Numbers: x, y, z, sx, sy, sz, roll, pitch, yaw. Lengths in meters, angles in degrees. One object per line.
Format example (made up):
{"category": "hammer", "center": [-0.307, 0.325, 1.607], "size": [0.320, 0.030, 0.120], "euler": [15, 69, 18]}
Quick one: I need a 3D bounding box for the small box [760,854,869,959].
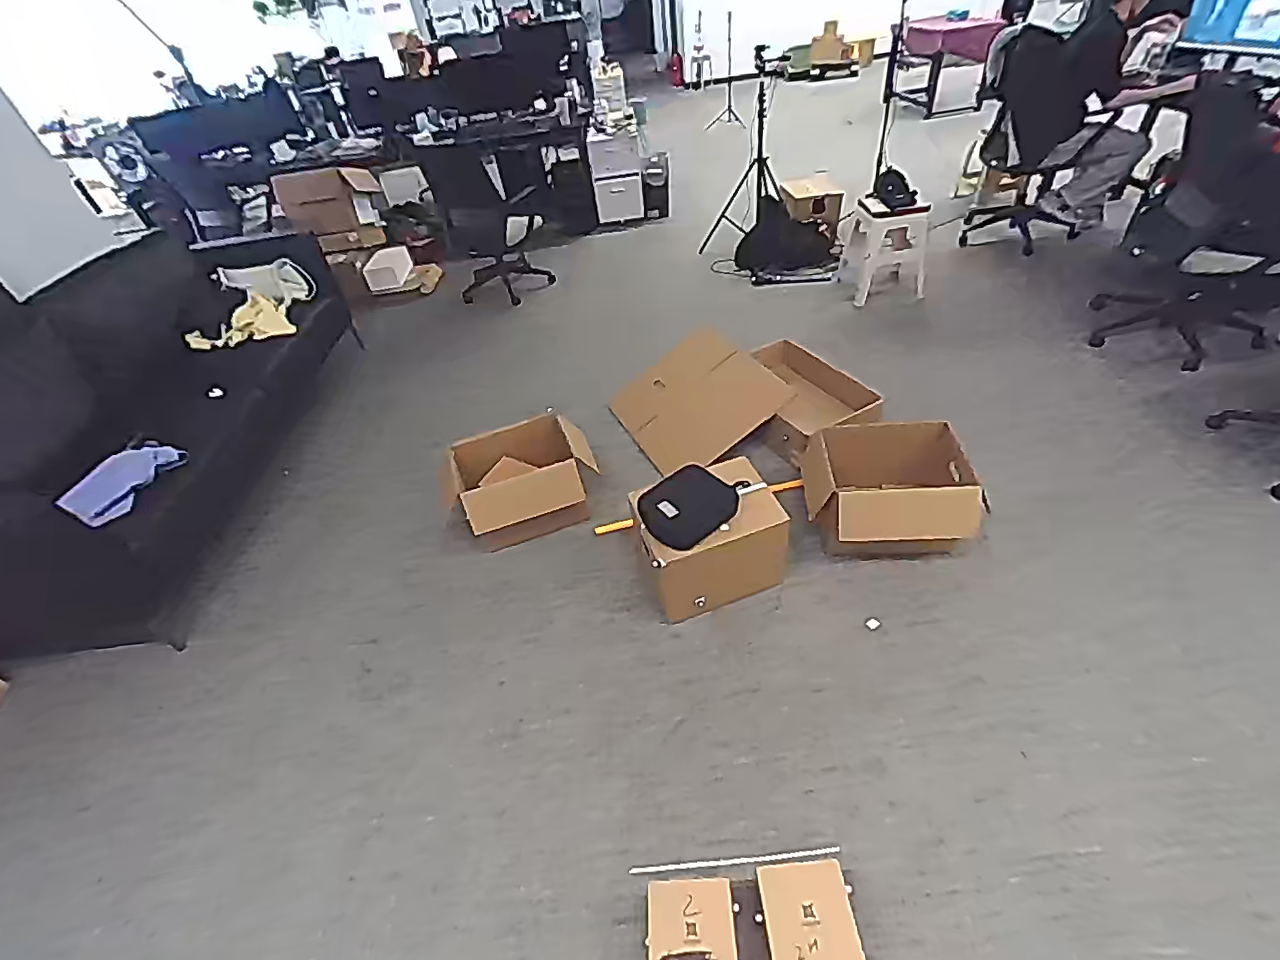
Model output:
{"category": "small box", "center": [0.334, 0.872, 1.072], "size": [0.168, 0.176, 0.179], "euler": [-8, 43, 3]}
